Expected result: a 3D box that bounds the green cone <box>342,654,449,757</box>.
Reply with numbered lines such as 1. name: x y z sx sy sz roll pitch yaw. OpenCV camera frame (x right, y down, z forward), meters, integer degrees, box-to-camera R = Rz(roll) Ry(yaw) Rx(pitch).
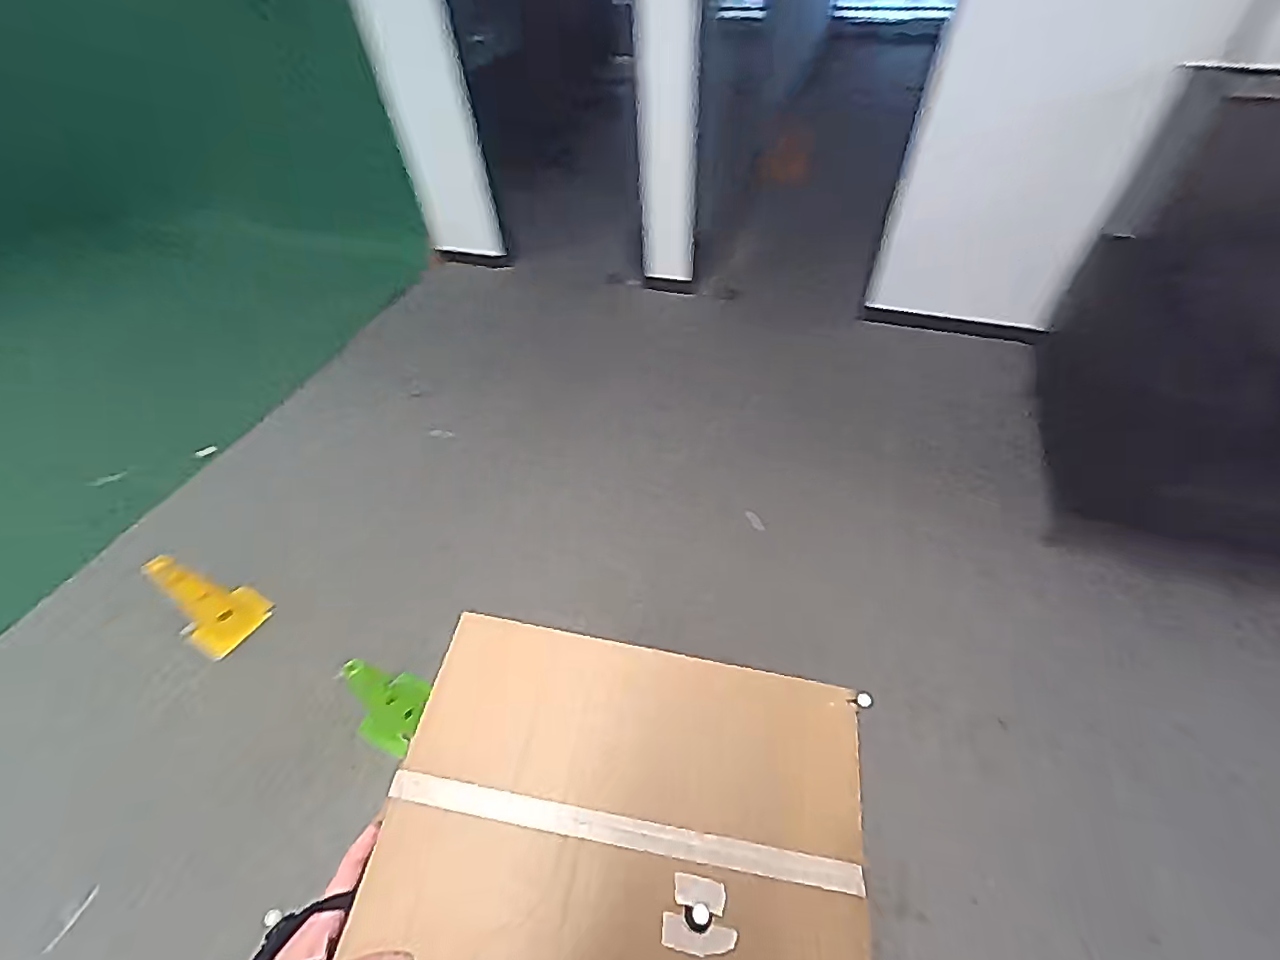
1. green cone: -0.700 0.567 1.465 0.202 0.368 0.200 18 51 20
